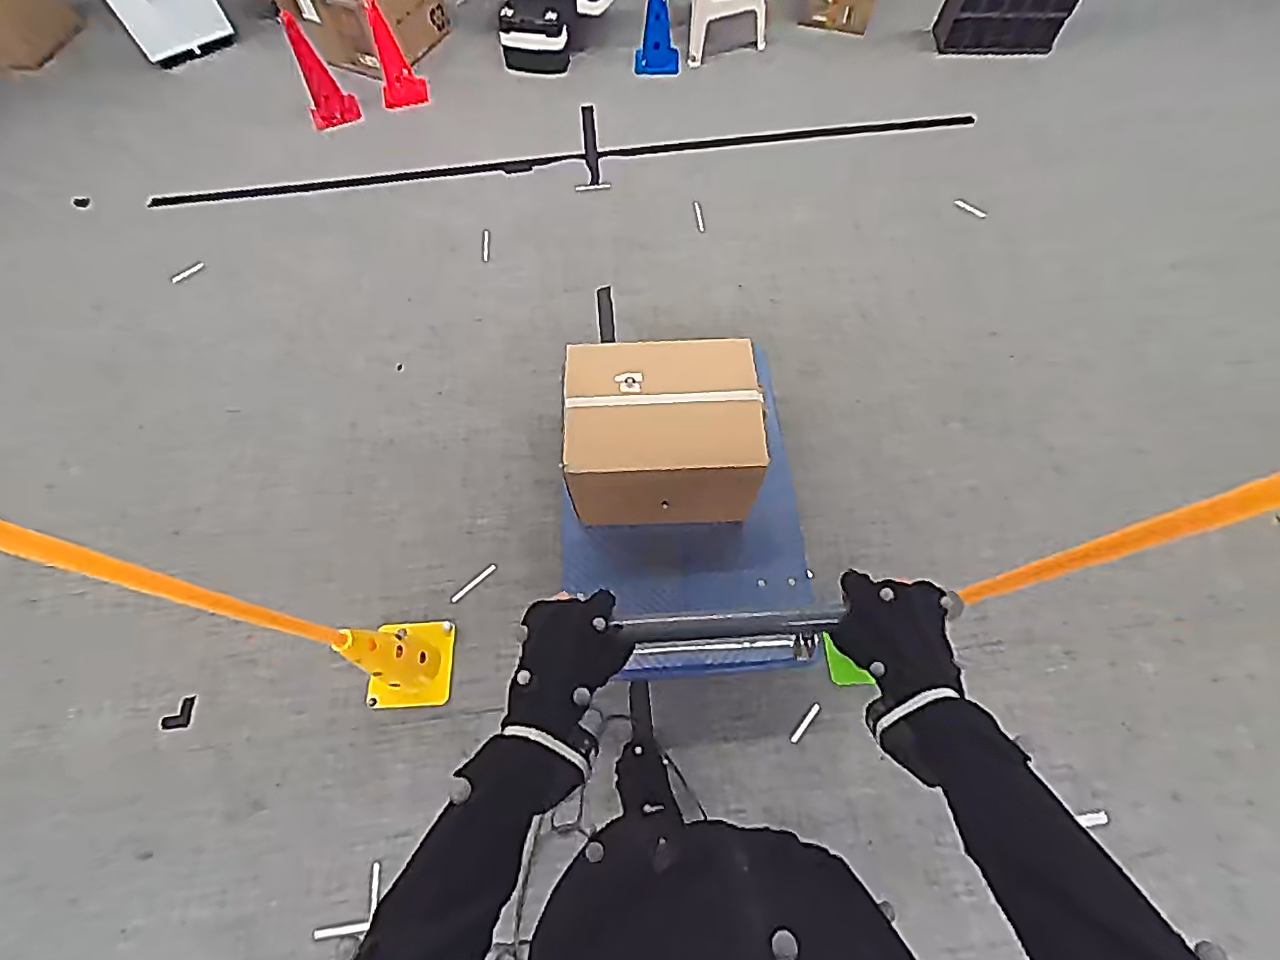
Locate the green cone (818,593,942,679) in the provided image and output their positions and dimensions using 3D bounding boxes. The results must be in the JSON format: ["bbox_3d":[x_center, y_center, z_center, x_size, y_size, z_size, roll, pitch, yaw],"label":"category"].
[{"bbox_3d":[0.559,0.319,1.202,0.202,0.368,0.200,-2,64,-1],"label":"green cone"}]

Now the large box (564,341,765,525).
[{"bbox_3d":[0.049,-0.095,1.255,0.408,0.320,0.320,-2,65,1],"label":"large box"}]
